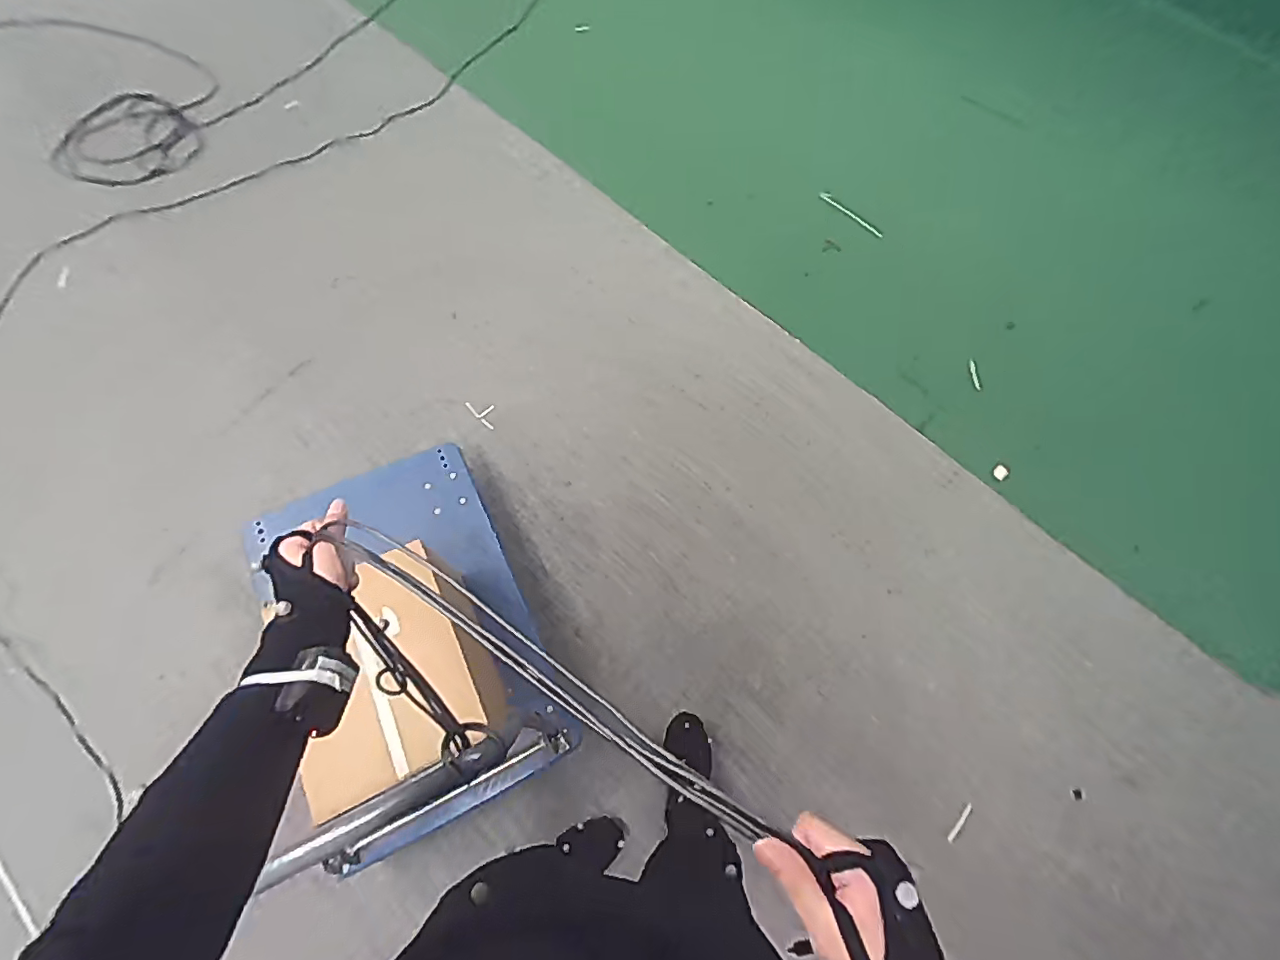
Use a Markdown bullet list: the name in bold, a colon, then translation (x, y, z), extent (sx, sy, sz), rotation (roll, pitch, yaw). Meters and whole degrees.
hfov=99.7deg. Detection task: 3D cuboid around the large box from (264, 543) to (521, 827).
- **large box**: translation (-0.484, 0.406, 1.116), extent (0.320, 0.320, 0.408), rotation (-24, 70, -13)
